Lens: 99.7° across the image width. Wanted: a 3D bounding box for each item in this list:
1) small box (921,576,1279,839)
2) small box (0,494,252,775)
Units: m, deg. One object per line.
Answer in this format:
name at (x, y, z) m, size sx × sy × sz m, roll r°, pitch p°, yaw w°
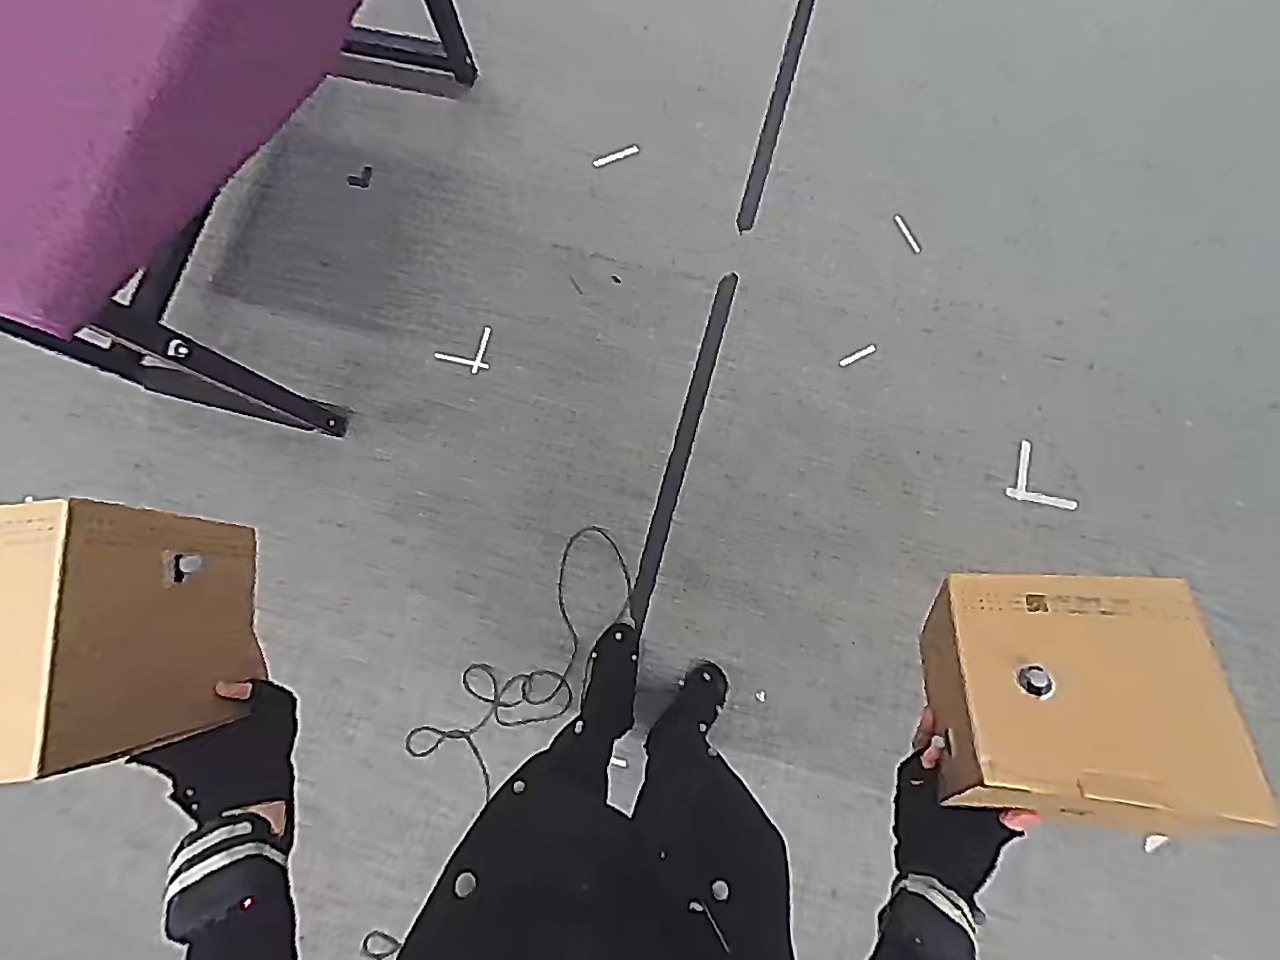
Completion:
small box at (0.352, 0.192, 0.464) m, size 0.168 × 0.179 × 0.176 m, roll 0°, pitch 56°, yaw 17°
small box at (-0.425, 0.106, 0.397) m, size 0.168 × 0.179 × 0.176 m, roll -5°, pitch 79°, yaw -1°
